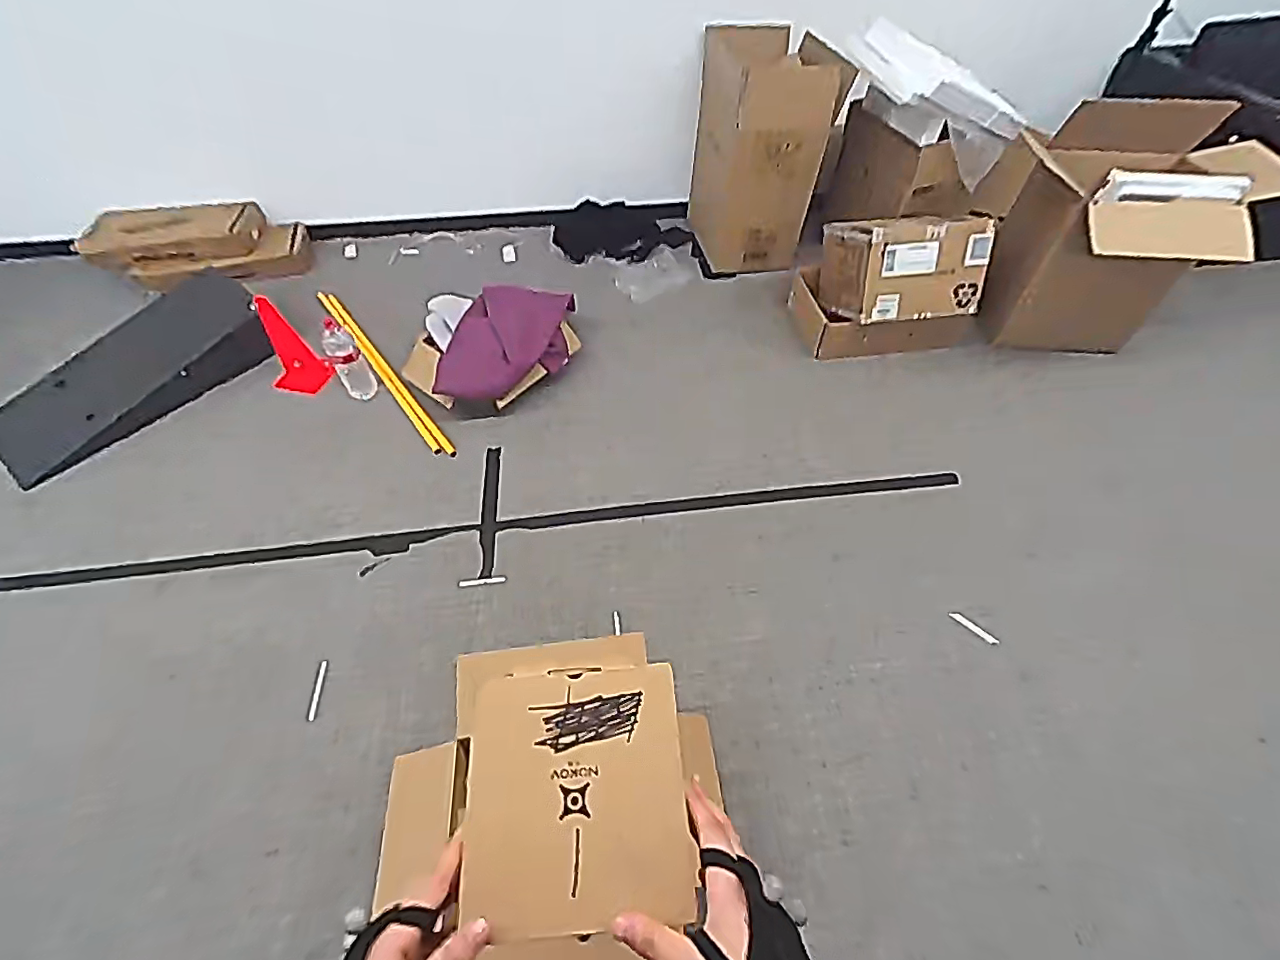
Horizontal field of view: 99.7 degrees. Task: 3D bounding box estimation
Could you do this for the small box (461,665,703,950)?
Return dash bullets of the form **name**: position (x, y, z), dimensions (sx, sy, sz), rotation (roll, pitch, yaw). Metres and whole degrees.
- **small box**: position (-0.044, 0.277, 0.473), dimensions (0.168, 0.176, 0.179), rotation (-5, 57, -2)
